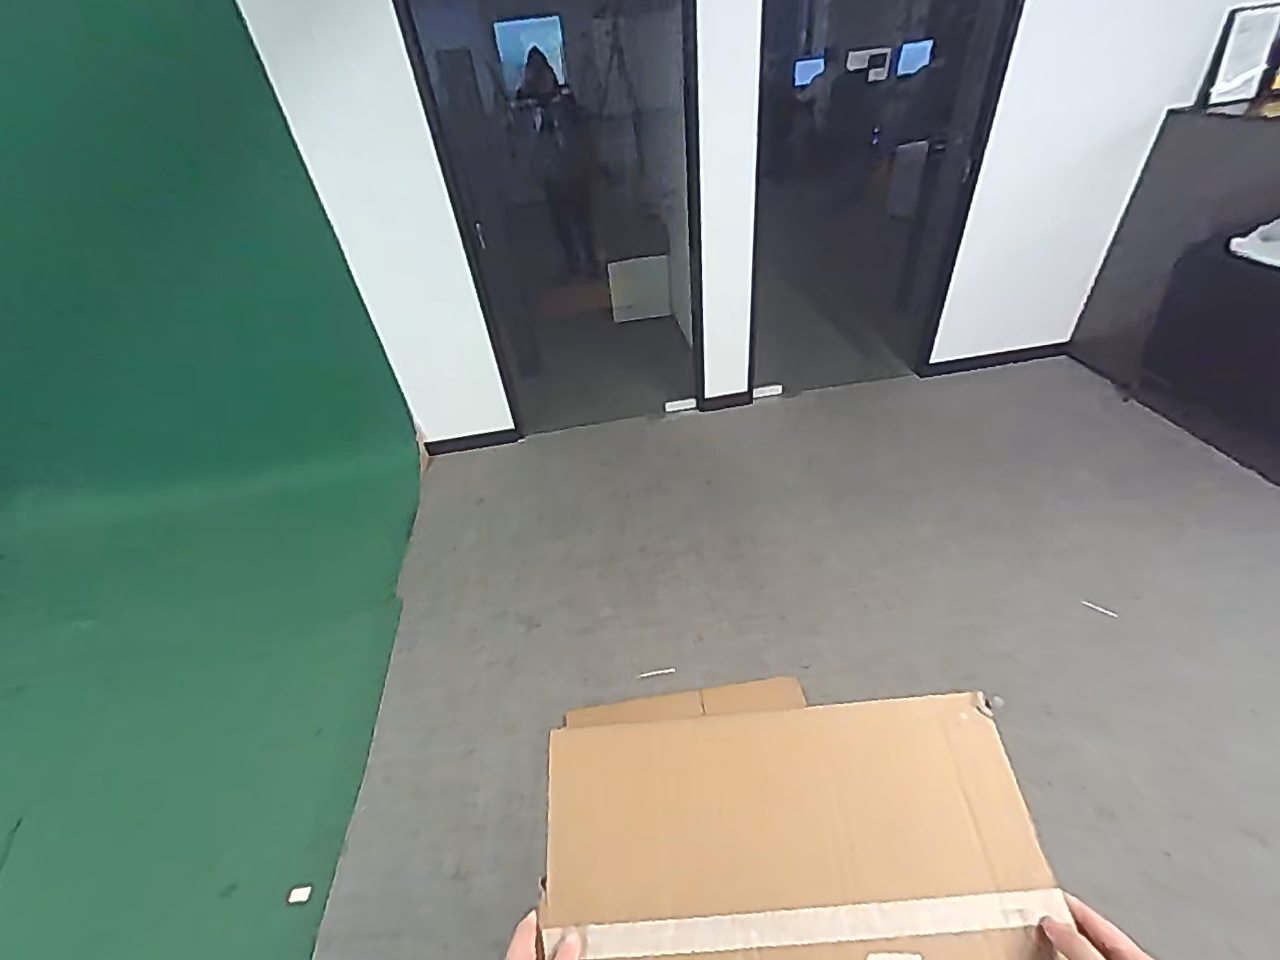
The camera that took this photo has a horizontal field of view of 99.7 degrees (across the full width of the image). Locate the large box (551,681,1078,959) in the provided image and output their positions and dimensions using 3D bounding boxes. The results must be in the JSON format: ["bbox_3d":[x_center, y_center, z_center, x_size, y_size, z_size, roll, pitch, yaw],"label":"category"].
[{"bbox_3d":[0.135,0.419,0.556,0.408,0.320,0.320,-6,58,1],"label":"large box"}]
